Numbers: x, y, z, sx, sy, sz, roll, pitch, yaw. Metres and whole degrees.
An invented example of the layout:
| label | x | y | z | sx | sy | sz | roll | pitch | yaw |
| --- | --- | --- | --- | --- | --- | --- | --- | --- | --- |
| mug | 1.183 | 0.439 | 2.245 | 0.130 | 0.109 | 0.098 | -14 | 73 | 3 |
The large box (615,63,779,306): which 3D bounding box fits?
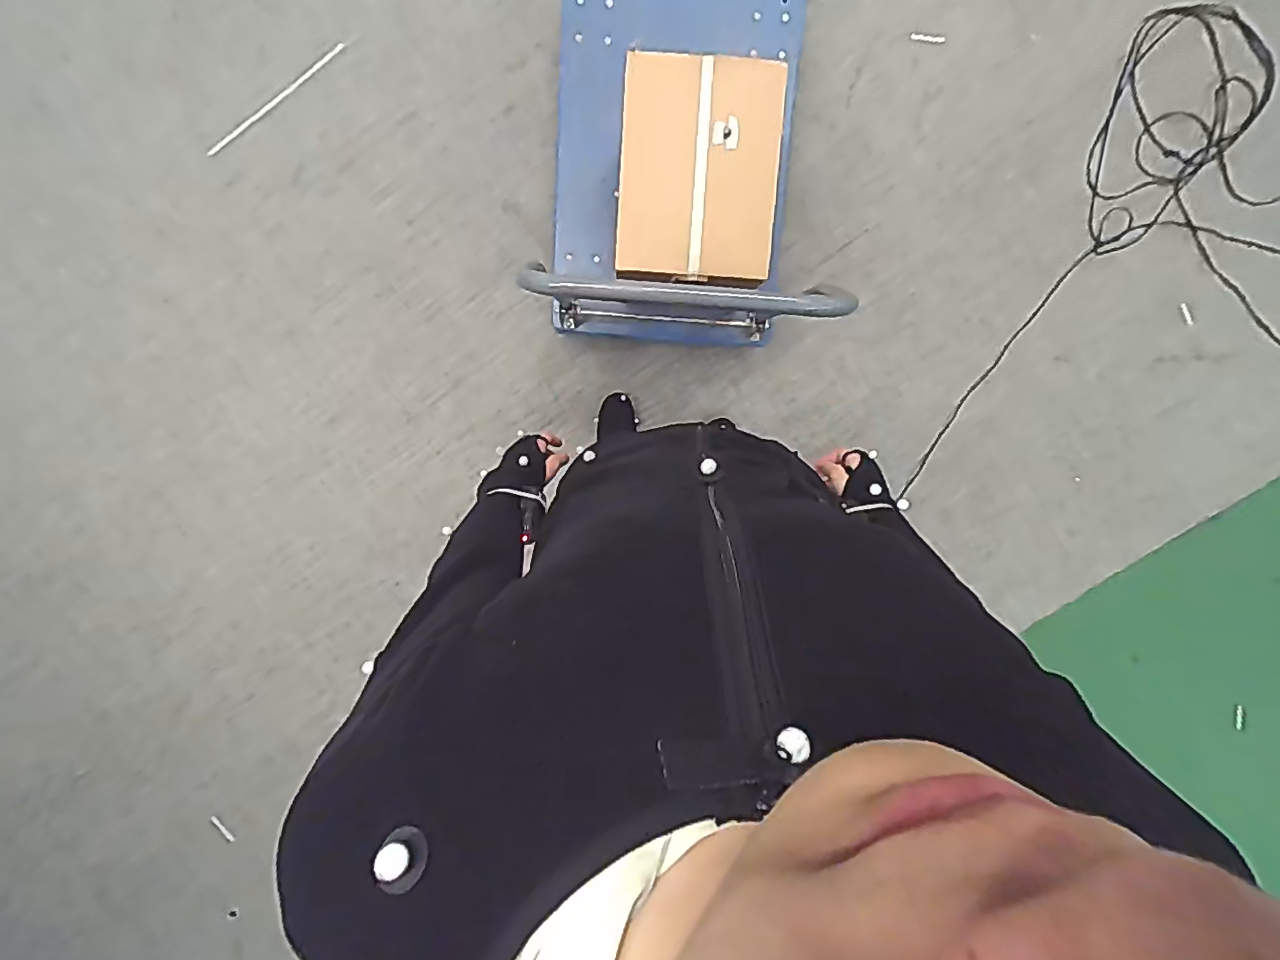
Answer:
| label | x | y | z | sx | sy | sz | roll | pitch | yaw |
| --- | --- | --- | --- | --- | --- | --- | --- | --- | --- |
| large box | 0.111 | -0.633 | 1.235 | 0.320 | 0.320 | 0.408 | 3 | 98 | -2 |
